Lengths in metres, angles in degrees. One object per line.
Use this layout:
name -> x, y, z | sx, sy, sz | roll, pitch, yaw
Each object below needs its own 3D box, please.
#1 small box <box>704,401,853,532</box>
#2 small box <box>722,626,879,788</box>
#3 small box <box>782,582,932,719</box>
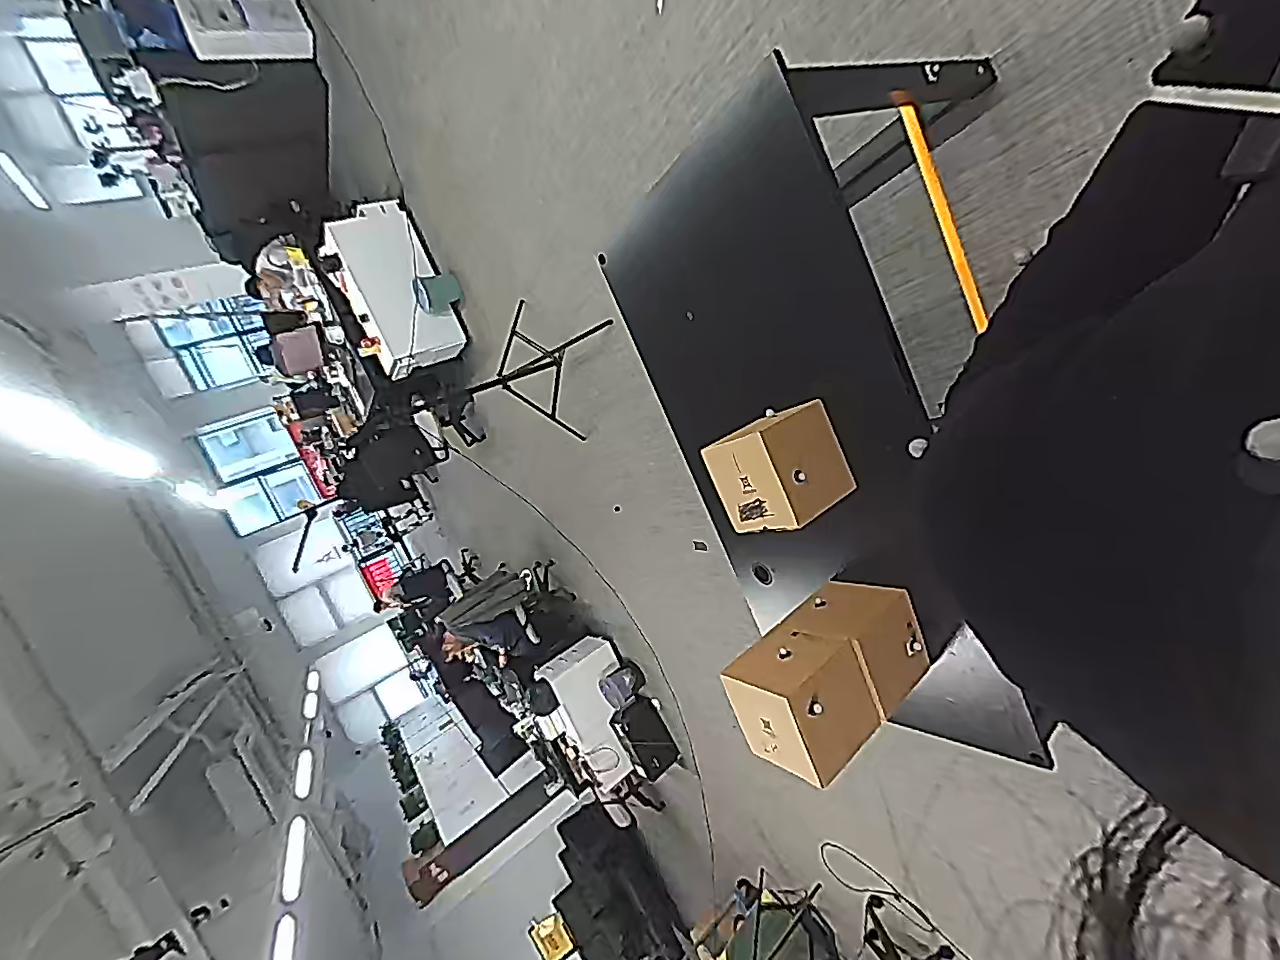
small box -> 0.254, -0.021, 0.987 | 0.168, 0.176, 0.179 | -15, 100, 60
small box -> 0.280, 0.380, 0.945 | 0.168, 0.176, 0.179 | -7, 109, 60
small box -> 0.409, 0.307, 1.019 | 0.179, 0.176, 0.168 | -8, 108, 58
